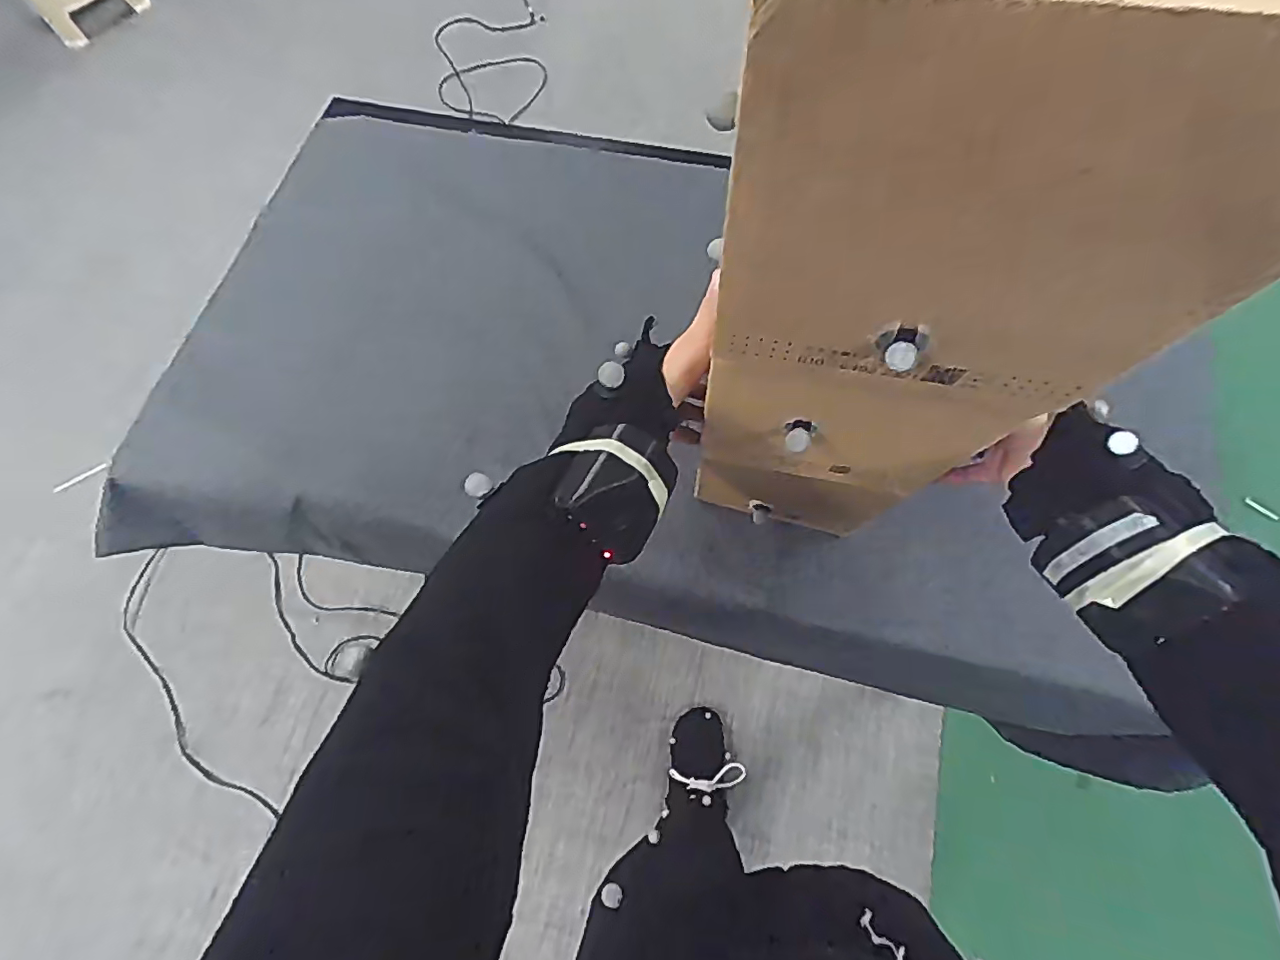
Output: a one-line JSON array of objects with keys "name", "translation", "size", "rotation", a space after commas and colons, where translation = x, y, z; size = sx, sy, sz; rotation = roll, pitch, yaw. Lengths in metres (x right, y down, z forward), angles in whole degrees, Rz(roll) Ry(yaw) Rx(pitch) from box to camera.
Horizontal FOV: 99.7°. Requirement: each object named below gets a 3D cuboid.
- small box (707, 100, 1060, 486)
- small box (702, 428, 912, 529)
[{"name": "small box", "translation": [0.141, -0.108, 0.367], "size": [0.168, 0.176, 0.179], "rotation": [11, 74, 7]}, {"name": "small box", "translation": [0.157, -0.066, 0.524], "size": [0.168, 0.176, 0.179], "rotation": [13, 75, 8]}]
